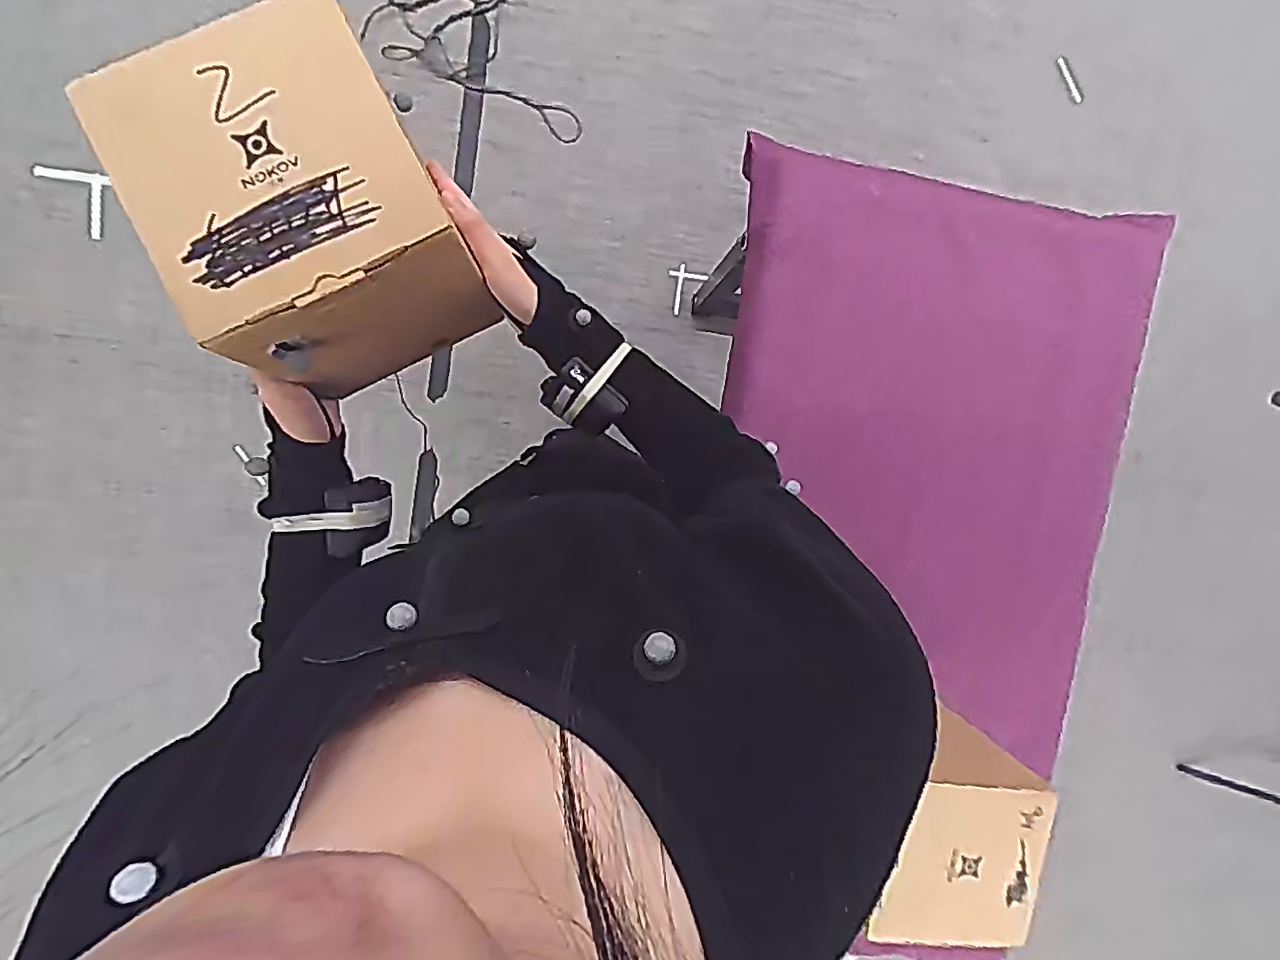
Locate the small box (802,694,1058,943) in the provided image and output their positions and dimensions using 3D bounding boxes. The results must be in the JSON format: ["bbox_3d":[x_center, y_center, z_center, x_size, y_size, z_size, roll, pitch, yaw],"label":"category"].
[{"bbox_3d":[0.302,0.359,0.602,0.179,0.176,0.168,9,94,-7],"label":"small box"}]
